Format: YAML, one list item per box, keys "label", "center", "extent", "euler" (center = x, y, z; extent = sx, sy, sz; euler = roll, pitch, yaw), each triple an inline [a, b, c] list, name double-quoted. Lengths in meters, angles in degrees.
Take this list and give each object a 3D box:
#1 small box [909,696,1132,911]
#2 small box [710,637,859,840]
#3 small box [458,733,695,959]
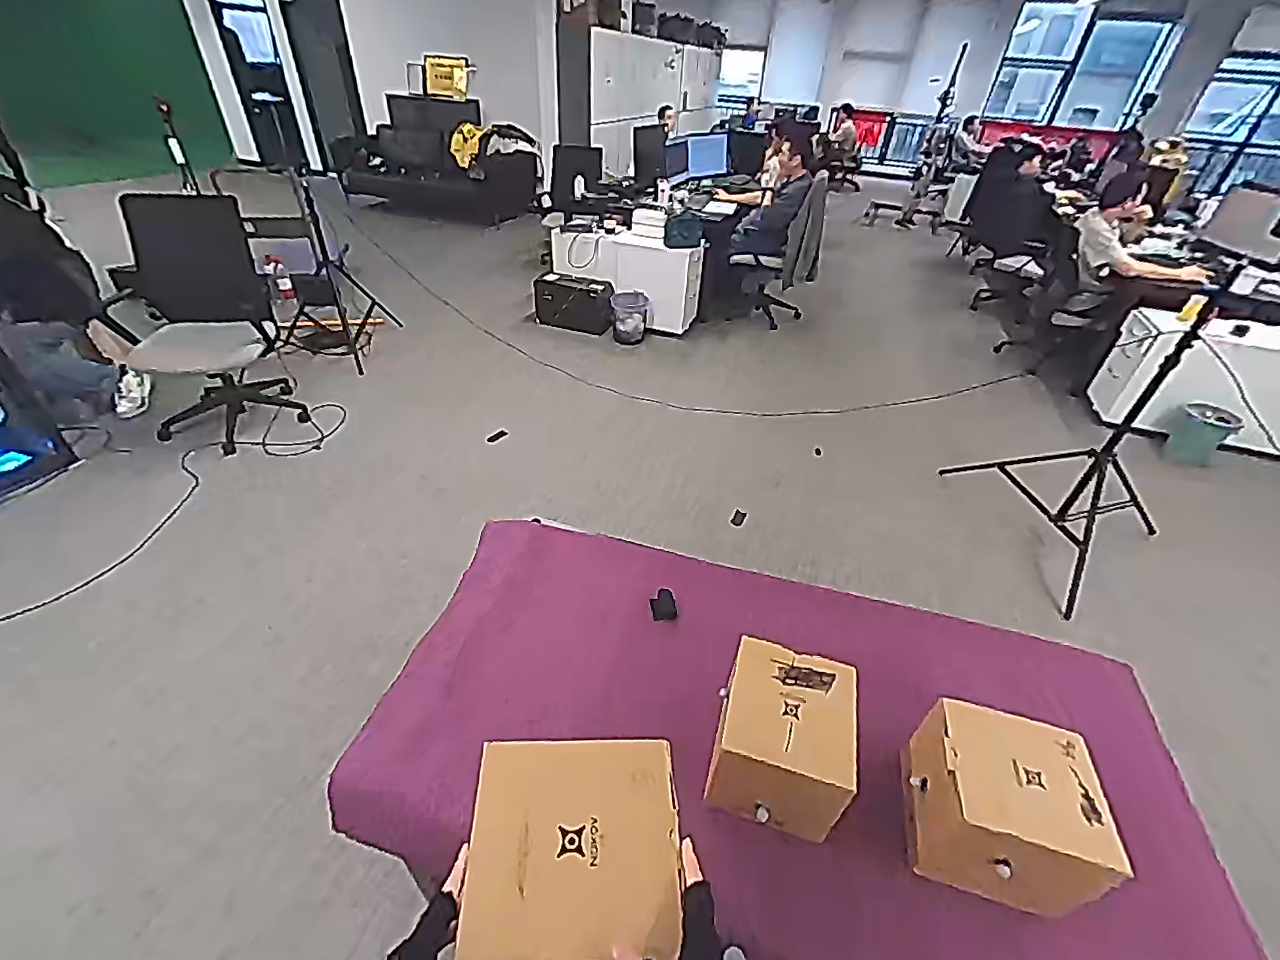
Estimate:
- label: "small box"
  center: [0.469, 0.421, 0.708]
  extent: [0.179, 0.176, 0.168]
  euler: [12, 37, 12]
- label: "small box"
  center: [0.201, 0.361, 0.764]
  extent: [0.168, 0.176, 0.179]
  euler: [13, 38, 12]
- label: "small box"
  center: [-0.056, 0.355, 0.504]
  extent: [0.179, 0.176, 0.168]
  euler: [1, 40, -6]
